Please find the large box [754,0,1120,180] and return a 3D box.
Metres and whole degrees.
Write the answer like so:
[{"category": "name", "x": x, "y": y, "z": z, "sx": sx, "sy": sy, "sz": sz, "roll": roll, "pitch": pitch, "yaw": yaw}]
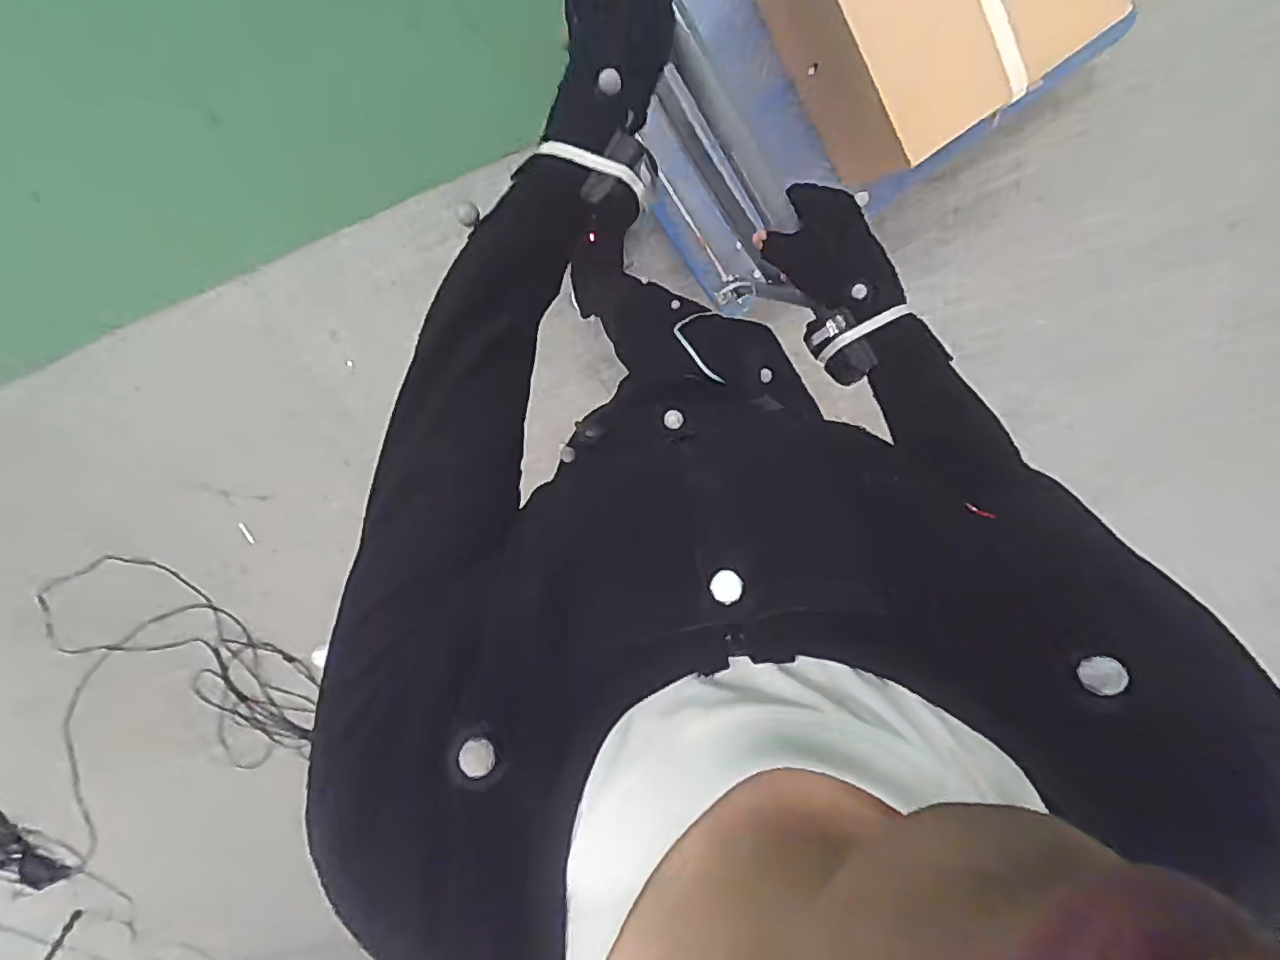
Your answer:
[{"category": "large box", "x": 0.408, "y": -0.756, "z": 0.834, "sx": 0.320, "sy": 0.320, "sz": 0.408, "roll": -32, "pitch": 108, "yaw": 14}]
